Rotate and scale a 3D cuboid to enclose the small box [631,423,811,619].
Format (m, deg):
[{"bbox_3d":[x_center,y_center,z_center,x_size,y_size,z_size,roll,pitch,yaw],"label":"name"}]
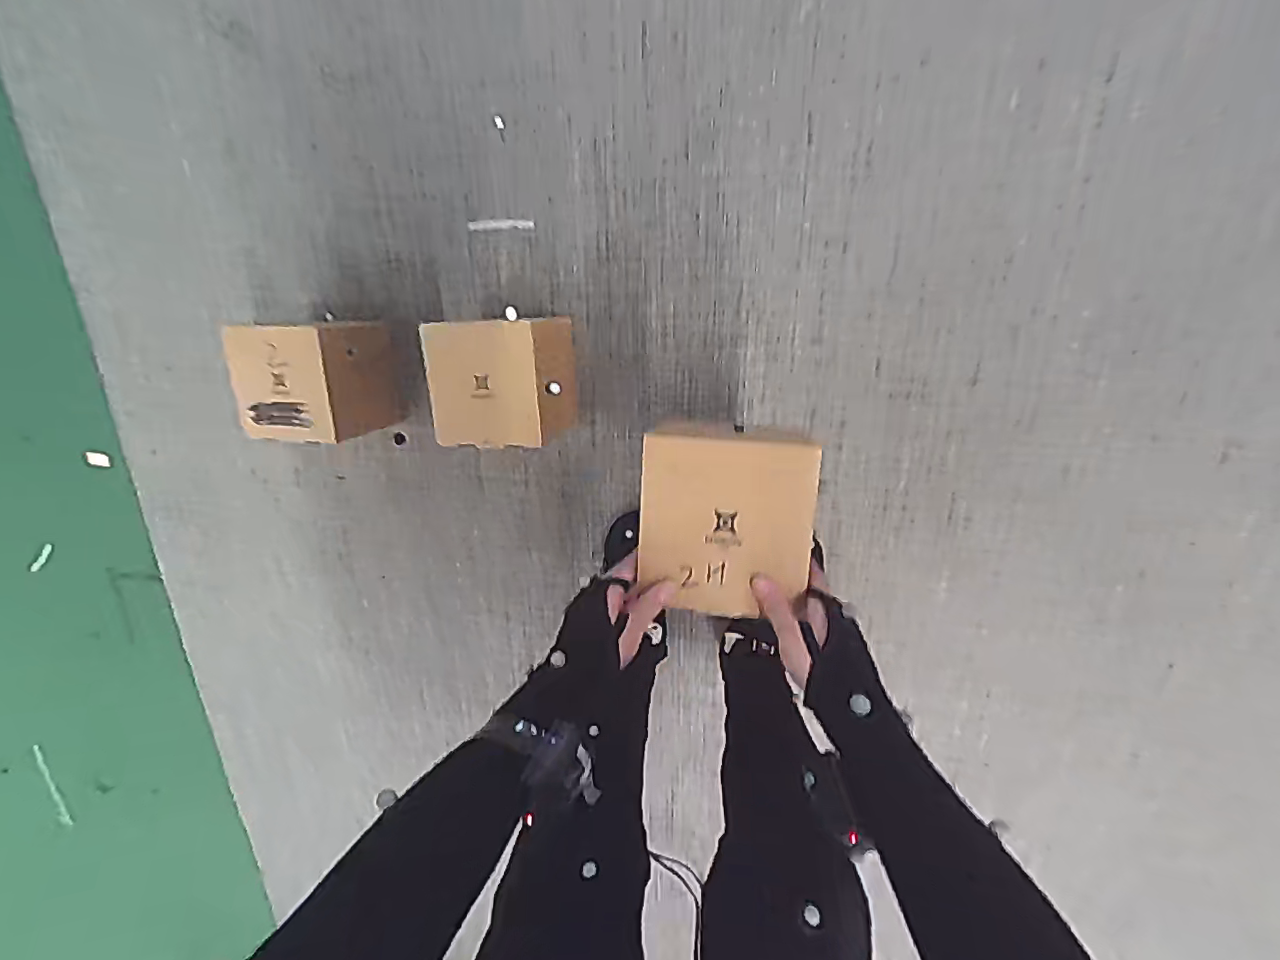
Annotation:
[{"bbox_3d":[0.089,0.031,0.602,0.168,0.176,0.179,4,102,11],"label":"small box"}]

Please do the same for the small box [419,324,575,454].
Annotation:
[{"bbox_3d":[-0.206,-0.145,0.828,0.168,0.176,0.179,1,109,12],"label":"small box"}]
